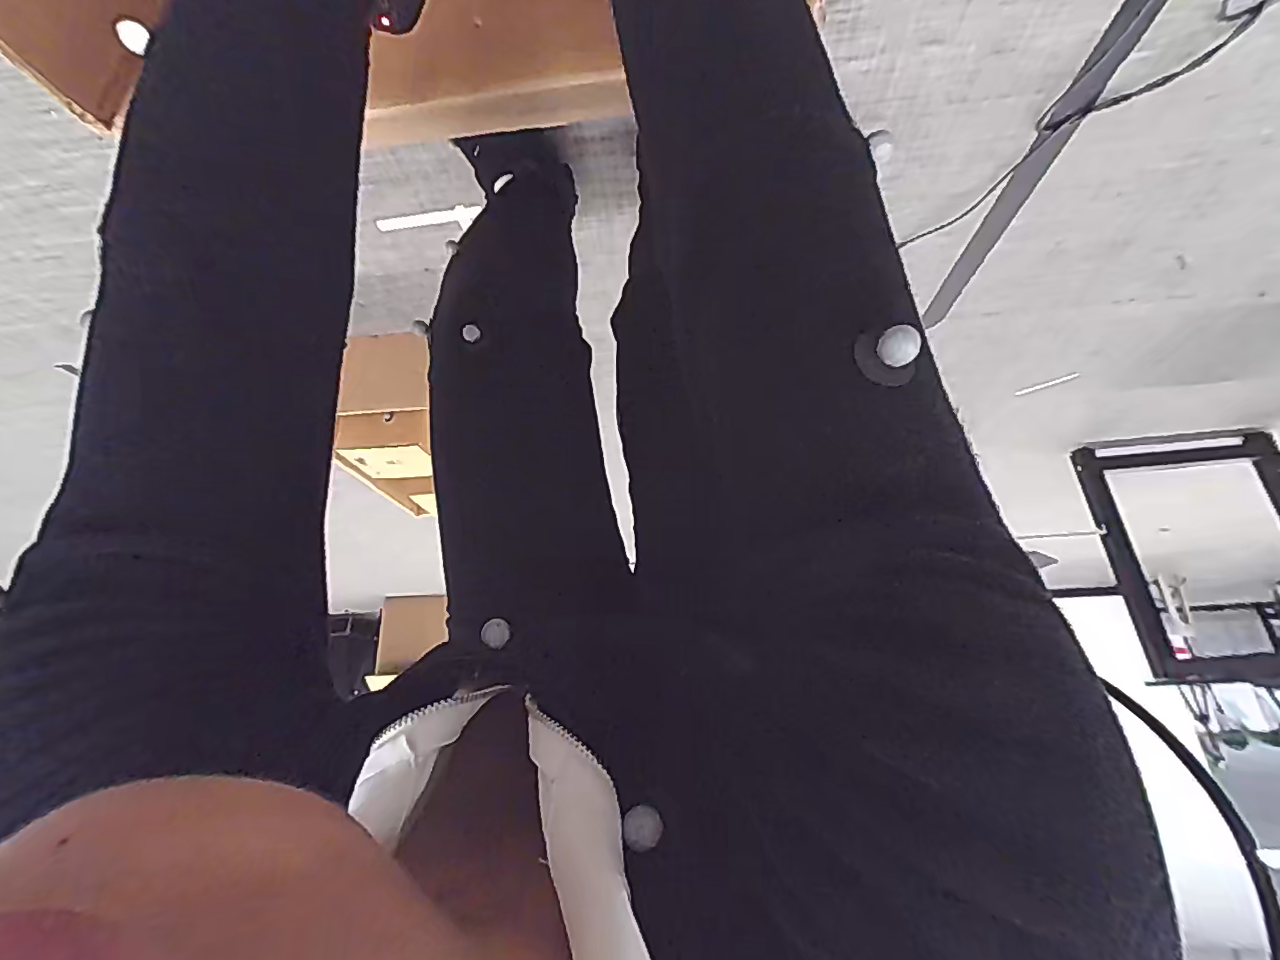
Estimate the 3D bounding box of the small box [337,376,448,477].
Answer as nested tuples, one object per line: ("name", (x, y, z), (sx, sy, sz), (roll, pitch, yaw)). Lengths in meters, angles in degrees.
("small box", (-0.540, -0.119, 1.202), (0.179, 0.176, 0.168), (-5, 159, 0))
